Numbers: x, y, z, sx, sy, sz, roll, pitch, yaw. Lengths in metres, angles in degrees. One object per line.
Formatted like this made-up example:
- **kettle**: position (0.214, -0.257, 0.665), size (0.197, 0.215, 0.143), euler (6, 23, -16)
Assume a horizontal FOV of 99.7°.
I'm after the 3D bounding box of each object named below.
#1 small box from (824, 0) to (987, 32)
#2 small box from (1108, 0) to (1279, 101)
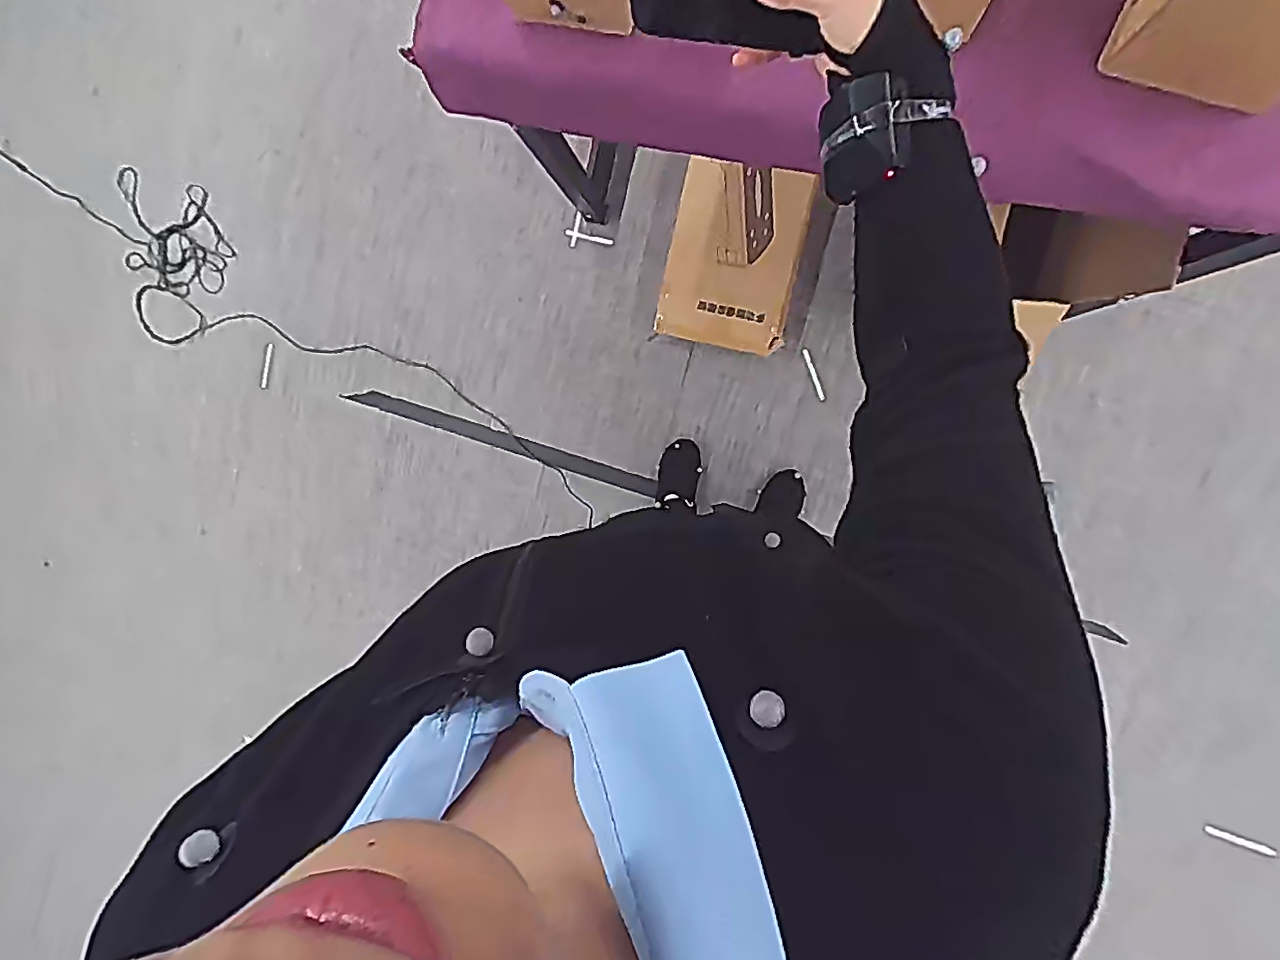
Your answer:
- **small box**: position (0.302, -0.598, 0.541), size (0.179, 0.176, 0.168), euler (15, 96, 9)
- **small box**: position (0.601, -0.495, 0.499), size (0.179, 0.176, 0.168), euler (22, 100, 7)
